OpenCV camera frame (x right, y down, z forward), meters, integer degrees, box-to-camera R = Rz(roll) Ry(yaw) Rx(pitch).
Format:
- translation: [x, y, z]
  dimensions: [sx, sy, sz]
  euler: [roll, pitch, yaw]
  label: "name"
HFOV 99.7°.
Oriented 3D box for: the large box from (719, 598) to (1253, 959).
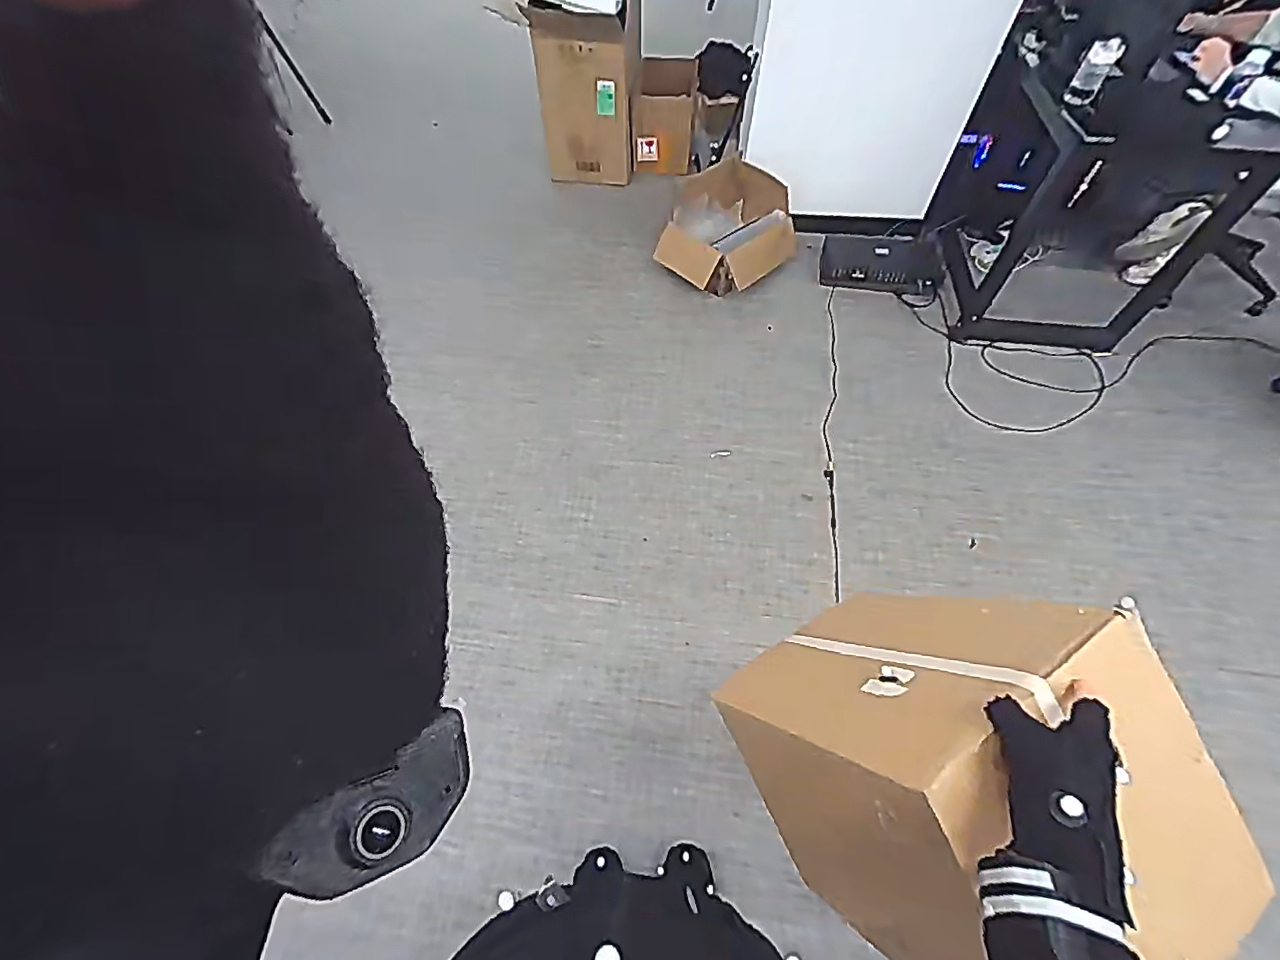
- translation: [0.367, 0.364, 0.676]
  dimensions: [0.320, 0.408, 0.320]
  euler: [-26, 90, -19]
  label: "large box"
